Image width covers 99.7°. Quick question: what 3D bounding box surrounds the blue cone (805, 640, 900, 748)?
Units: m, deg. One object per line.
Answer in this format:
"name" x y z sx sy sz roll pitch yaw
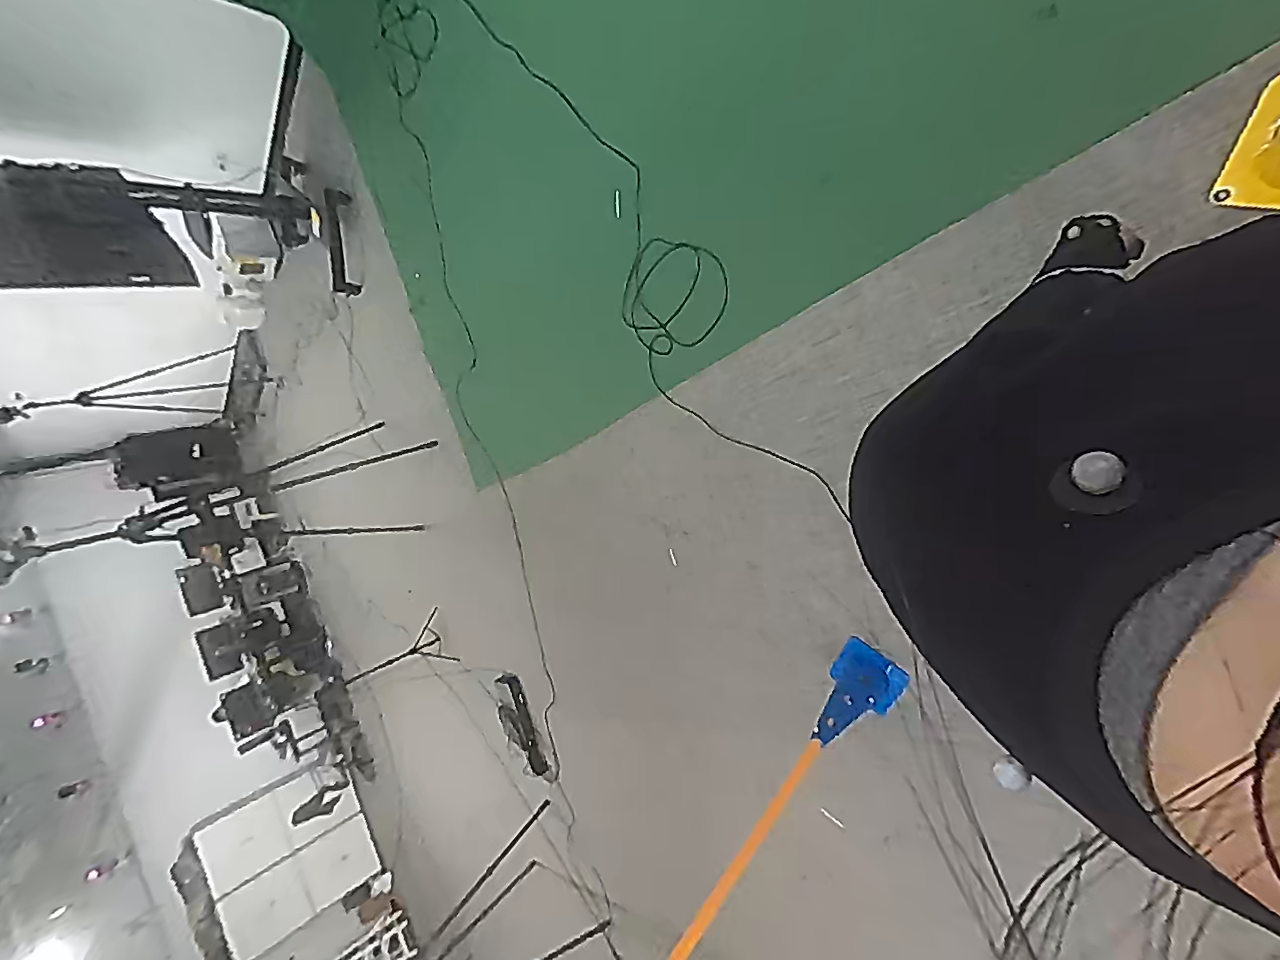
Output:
"blue cone" 0.597 0.663 1.590 0.192 0.380 0.193 34 128 31
